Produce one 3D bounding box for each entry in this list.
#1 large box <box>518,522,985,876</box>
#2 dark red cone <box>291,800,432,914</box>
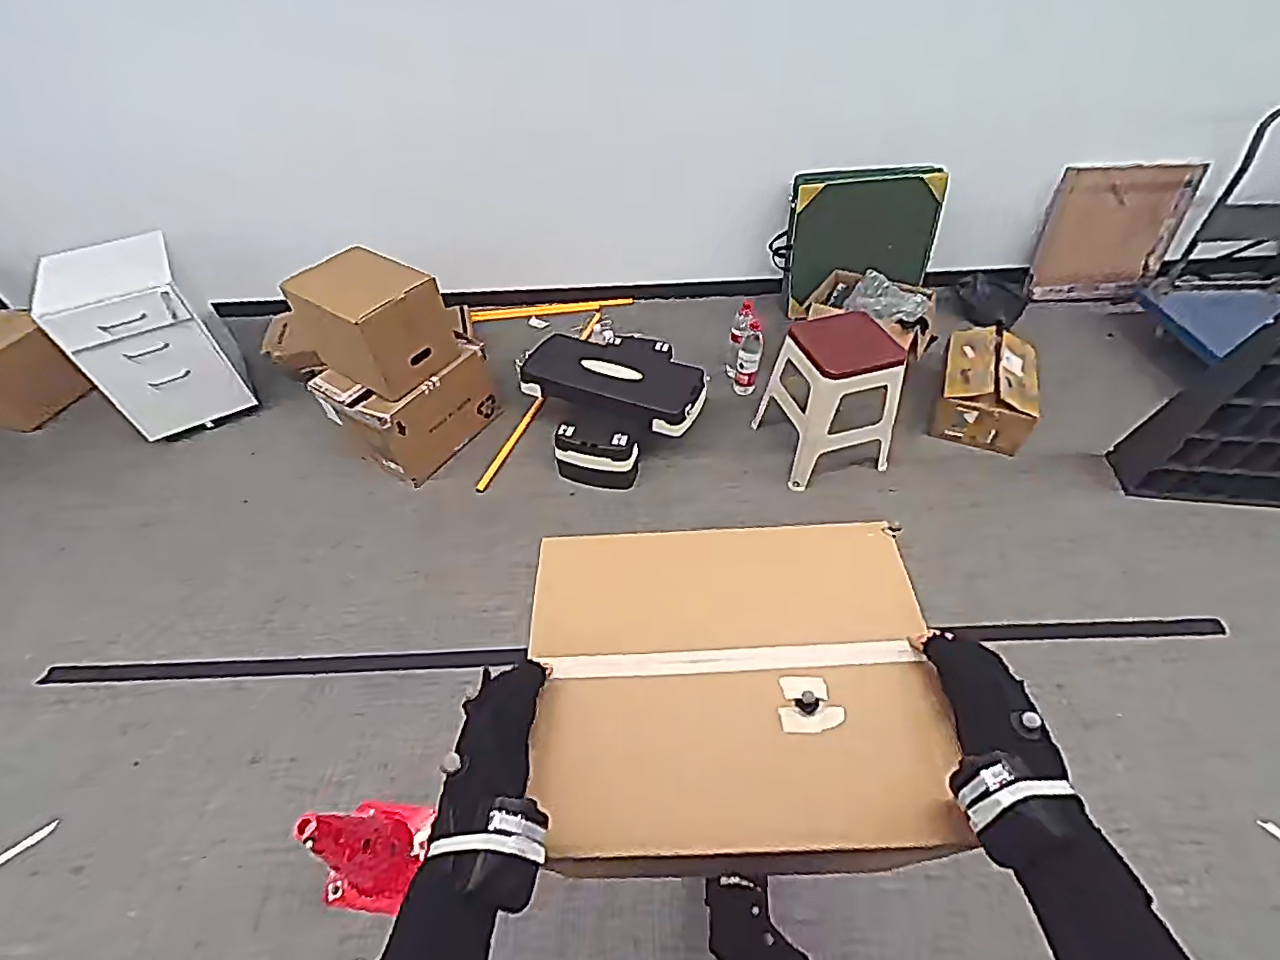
[{"bbox_3d":[0.094,0.274,0.661,0.408,0.320,0.320,-3,51,1],"label":"large box"},{"bbox_3d":[-0.586,0.721,1.081,0.201,0.394,0.202,3,48,4],"label":"dark red cone"}]
